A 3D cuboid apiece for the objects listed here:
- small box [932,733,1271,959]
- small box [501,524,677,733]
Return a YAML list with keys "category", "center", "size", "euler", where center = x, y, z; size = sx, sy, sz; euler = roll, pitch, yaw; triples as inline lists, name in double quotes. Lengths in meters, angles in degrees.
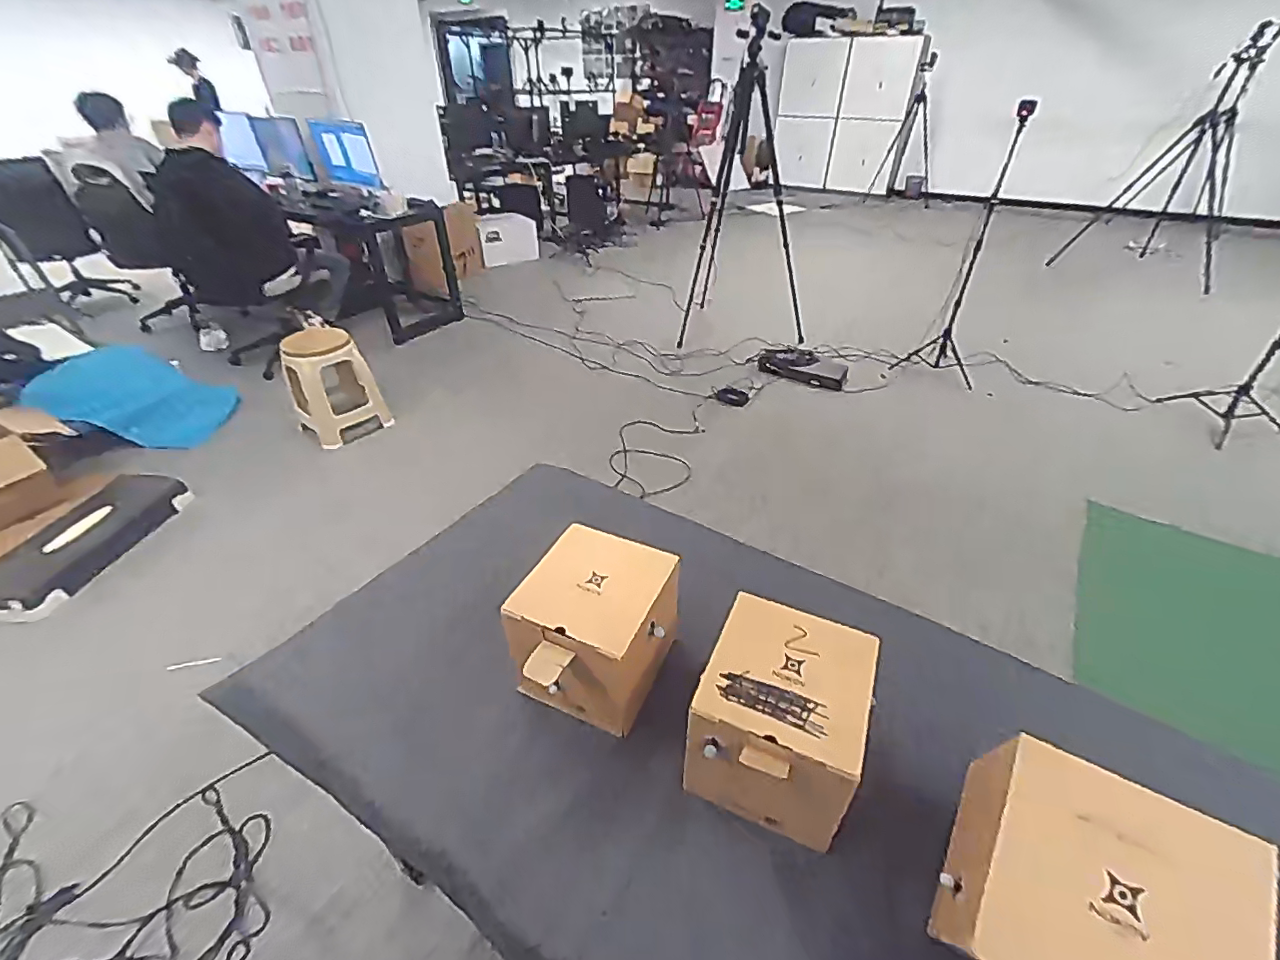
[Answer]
- category: "small box"
  center: [0.369, 0.355, 0.461]
  size: [0.168, 0.176, 0.179]
  euler: [20, 62, 26]
- category: "small box"
  center: [-0.060, 0.193, 0.722]
  size: [0.168, 0.176, 0.179]
  euler: [15, 40, 19]
